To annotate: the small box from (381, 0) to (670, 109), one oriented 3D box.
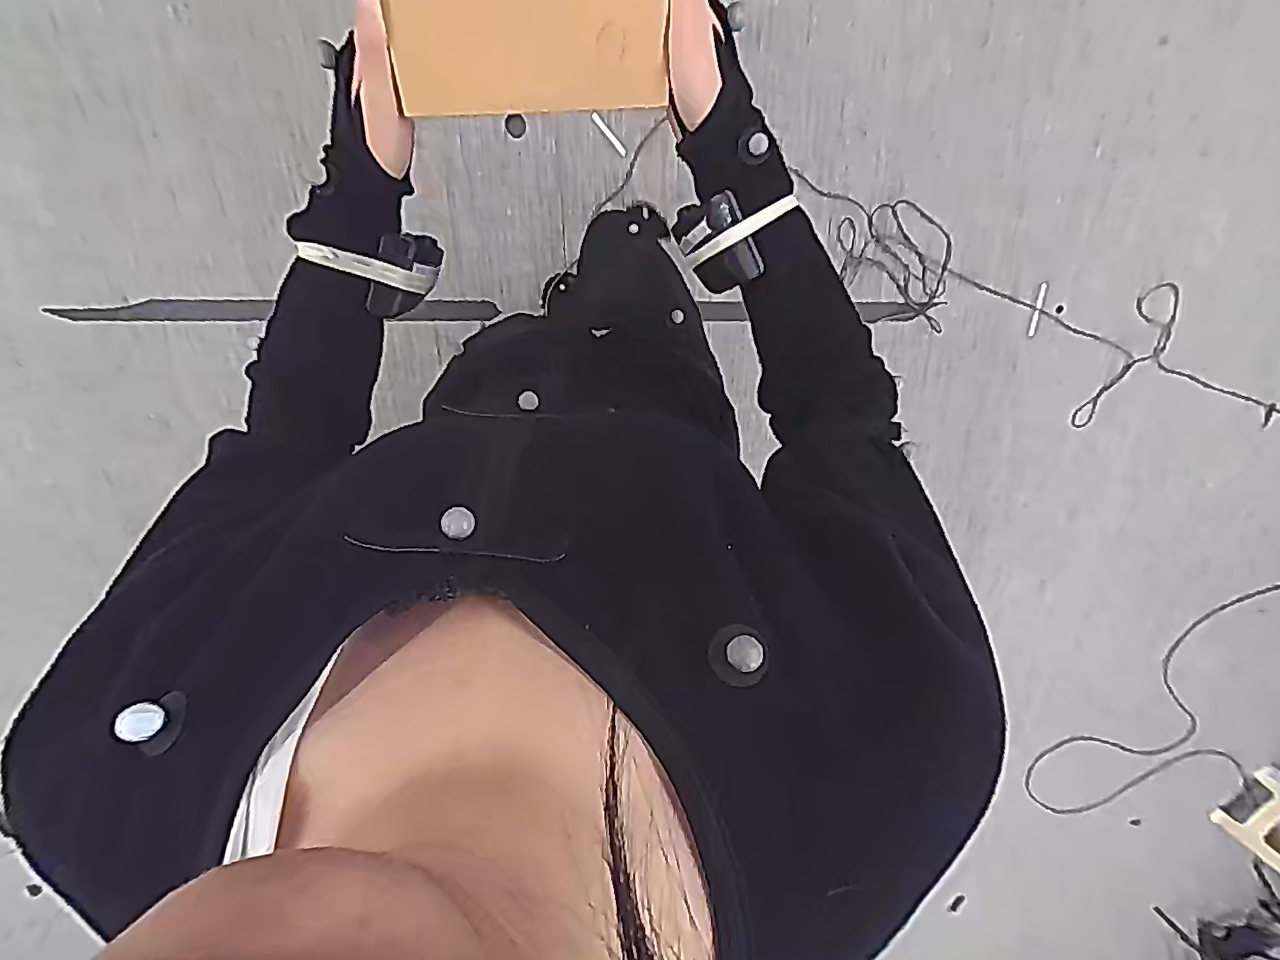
[{"bbox_3d":[-0.071,-0.349,0.349,0.168,0.176,0.179,-5,124,-4],"label":"small box"}]
